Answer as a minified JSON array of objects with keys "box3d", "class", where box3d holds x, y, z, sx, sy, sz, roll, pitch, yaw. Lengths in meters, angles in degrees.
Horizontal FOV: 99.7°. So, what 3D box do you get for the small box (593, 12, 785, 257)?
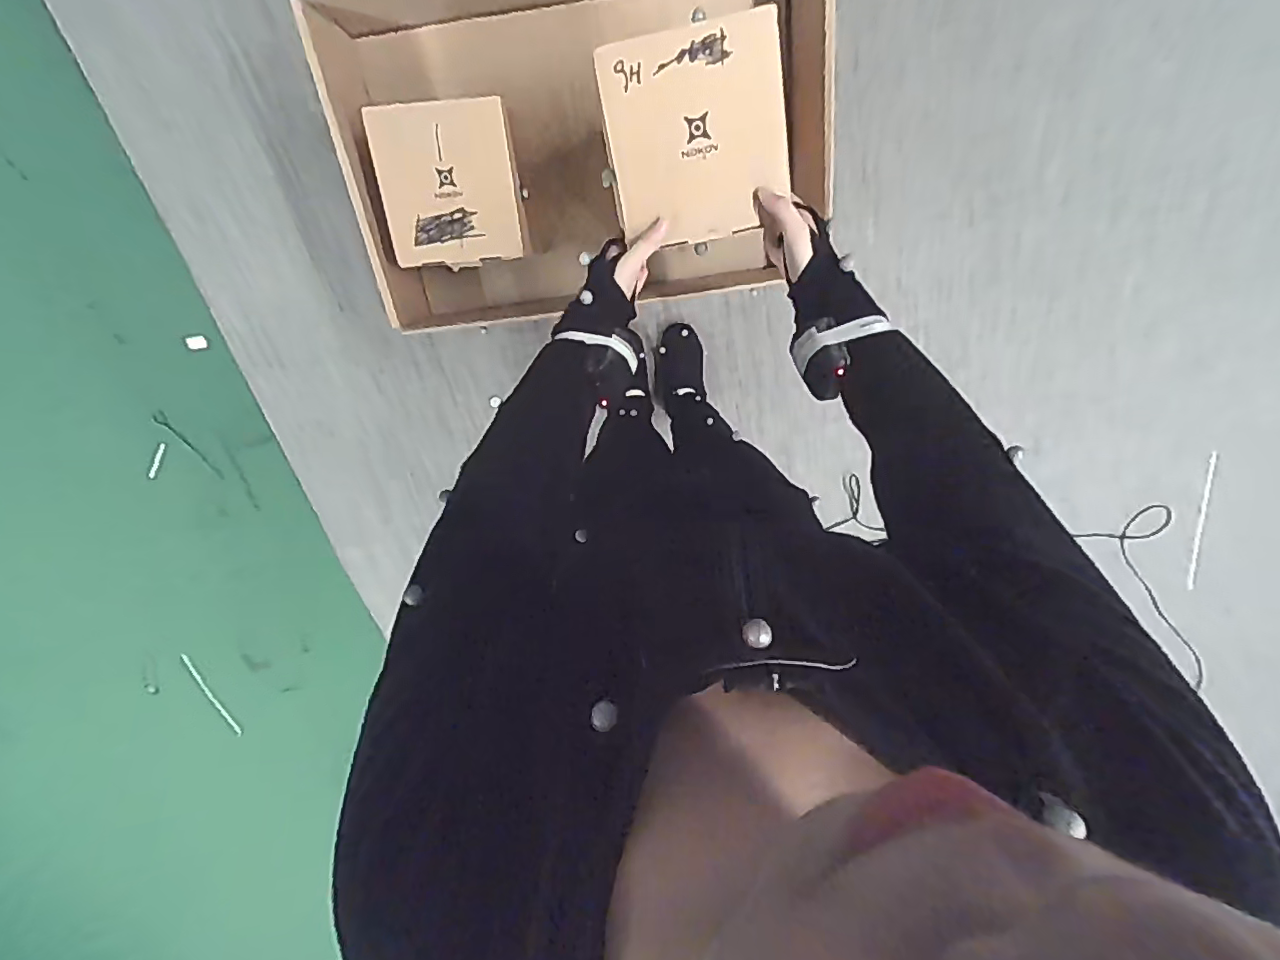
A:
[{"box3d":[0.051,-0.352,0.582,0.168,0.176,0.179,-10,114,3],"class":"small box"}]
